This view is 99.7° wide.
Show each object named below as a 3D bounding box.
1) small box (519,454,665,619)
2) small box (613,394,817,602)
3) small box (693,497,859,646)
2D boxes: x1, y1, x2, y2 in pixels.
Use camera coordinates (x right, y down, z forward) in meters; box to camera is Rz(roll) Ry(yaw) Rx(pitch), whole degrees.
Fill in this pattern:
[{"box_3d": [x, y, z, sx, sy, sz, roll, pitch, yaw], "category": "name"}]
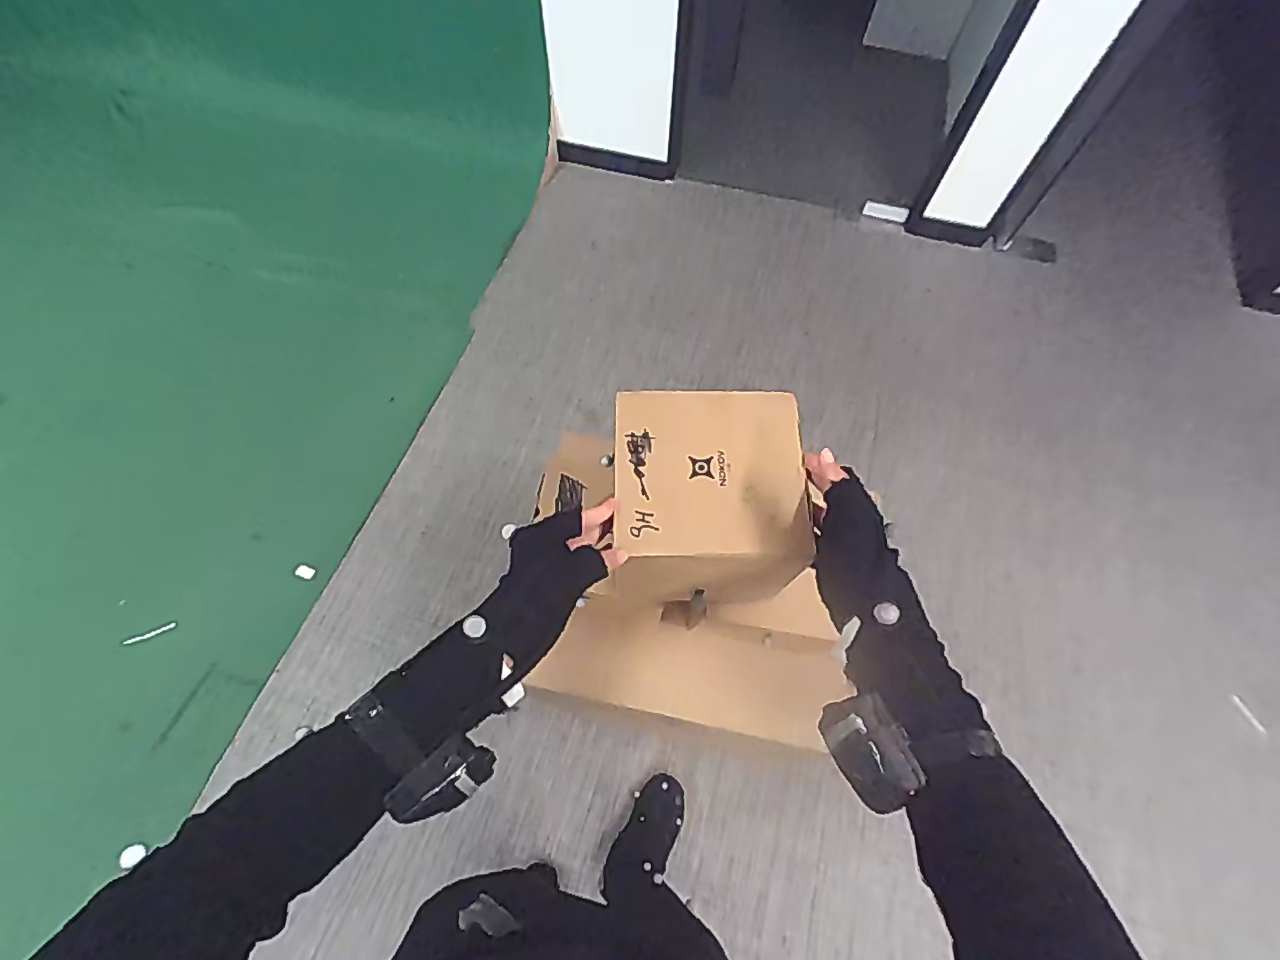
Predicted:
[{"box_3d": [-0.042, 0.084, 0.724, 0.179, 0.176, 0.168, 10, 69, 3], "category": "small box"}, {"box_3d": [0.062, 0.027, 0.564, 0.179, 0.176, 0.168, 1, 65, -2], "category": "small box"}, {"box_3d": [0.169, 0.120, 0.712, 0.179, 0.176, 0.168, 9, 70, 2], "category": "small box"}]
